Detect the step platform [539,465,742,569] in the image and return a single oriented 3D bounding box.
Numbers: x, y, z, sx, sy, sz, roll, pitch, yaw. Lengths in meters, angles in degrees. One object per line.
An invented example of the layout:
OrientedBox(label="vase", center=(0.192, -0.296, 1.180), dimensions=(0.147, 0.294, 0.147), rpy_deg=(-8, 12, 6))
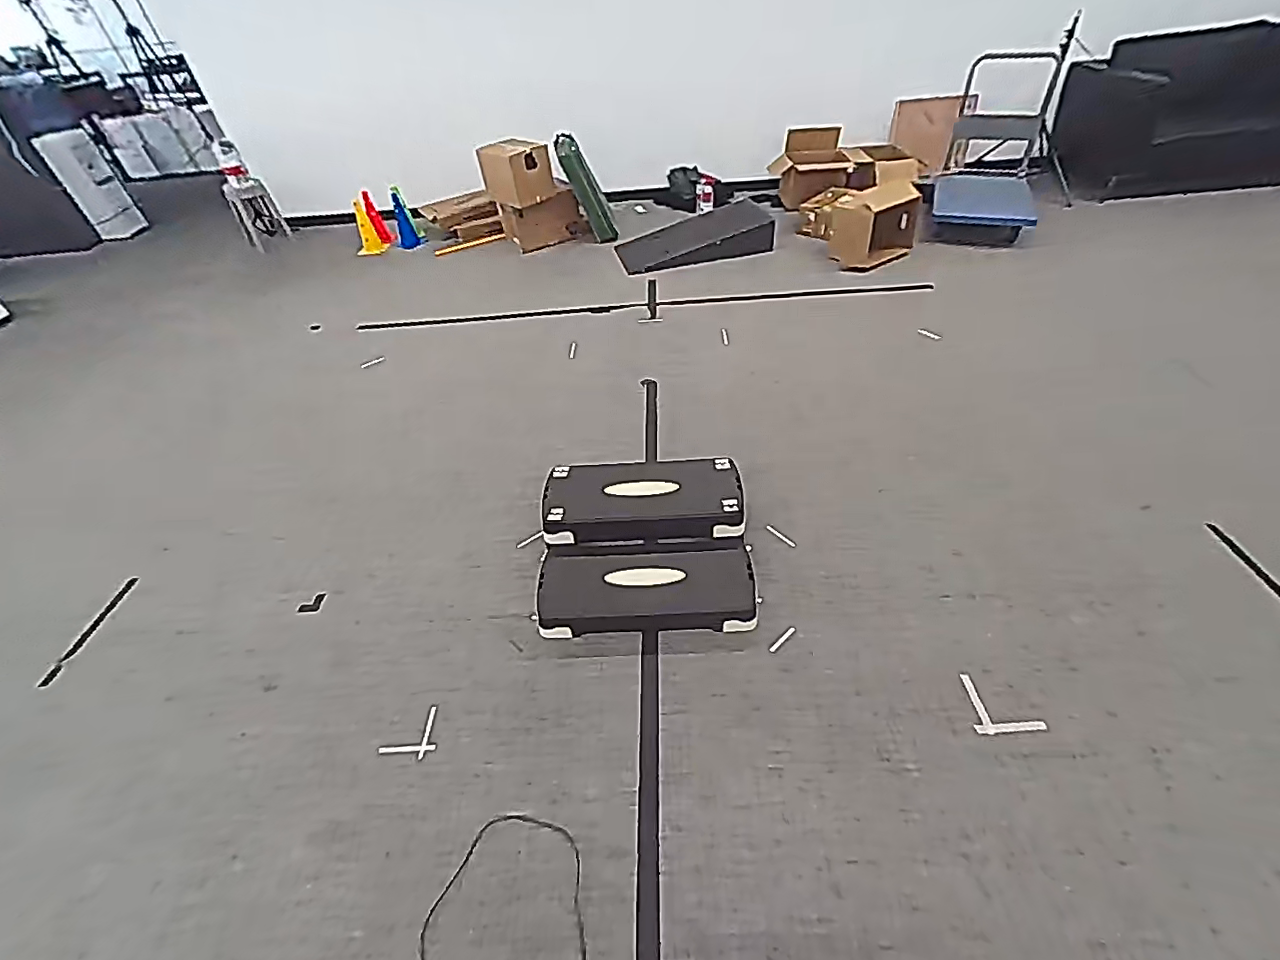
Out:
OrientedBox(label="step platform", center=(0.000, 0.120, 1.848), dimensions=(0.684, 0.204, 0.286), rpy_deg=(-3, 44, 2))
